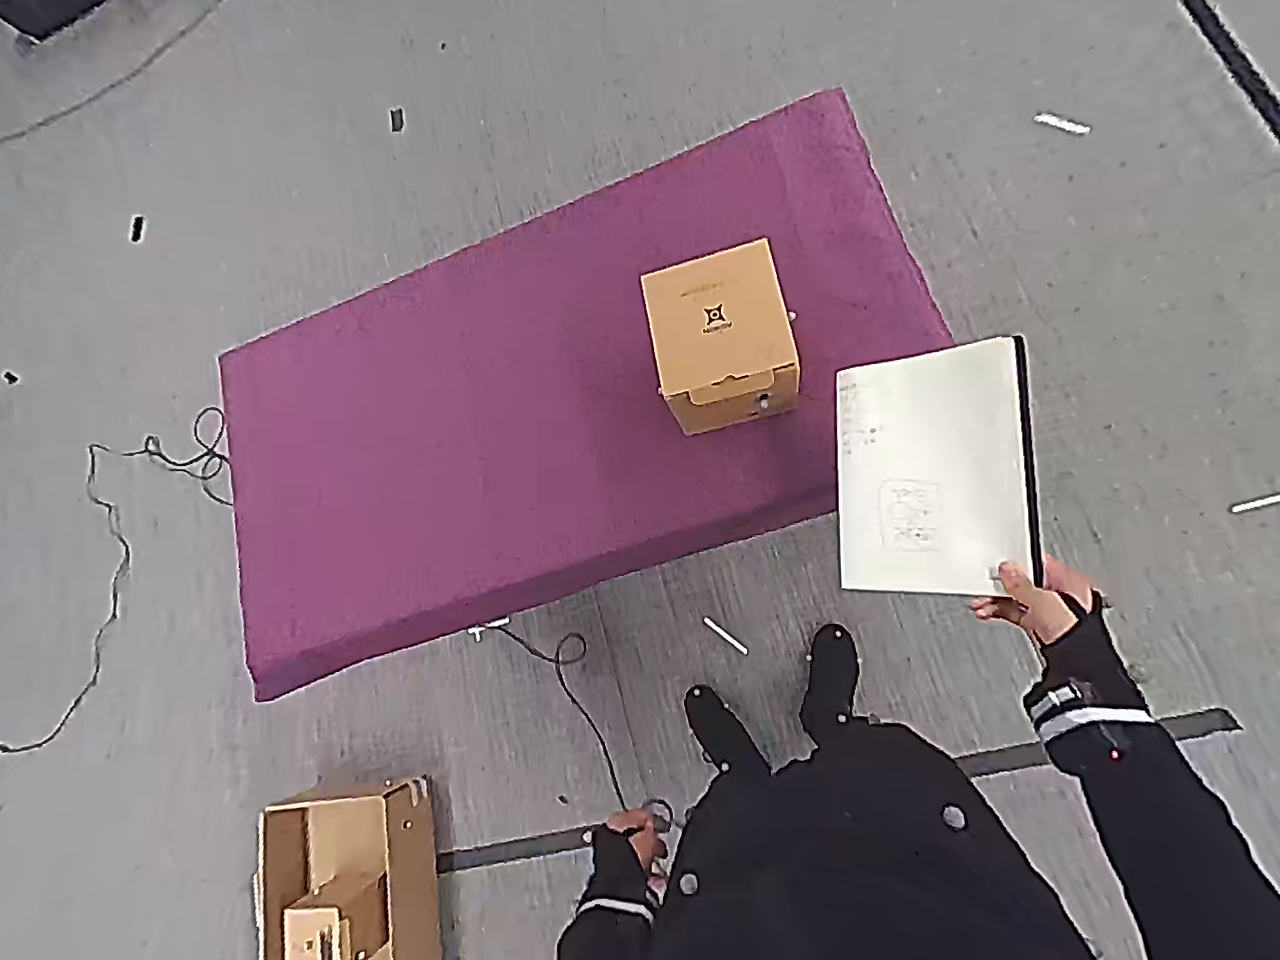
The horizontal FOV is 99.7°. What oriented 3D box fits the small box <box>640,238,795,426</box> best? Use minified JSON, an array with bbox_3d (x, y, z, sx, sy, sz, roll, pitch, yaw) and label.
[{"bbox_3d":[0.110,-0.183,0.734,0.168,0.176,0.179,-13,76,11],"label":"small box"}]
